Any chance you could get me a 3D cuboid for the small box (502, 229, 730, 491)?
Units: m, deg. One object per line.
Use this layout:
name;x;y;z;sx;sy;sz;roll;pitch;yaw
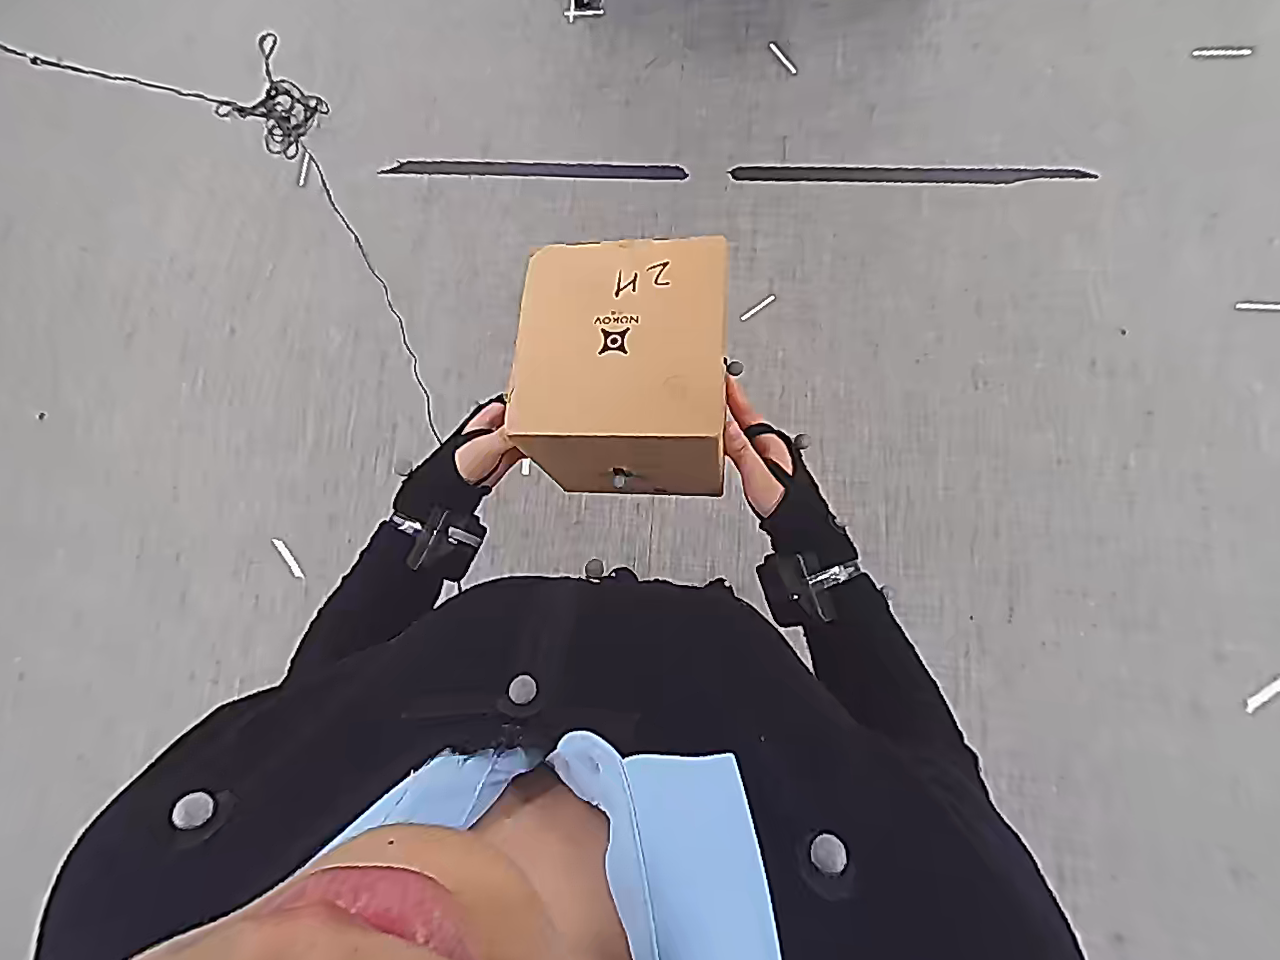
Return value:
small box;-0.005;-0.094;0.489;0.168;0.176;0.179;2;73;10
